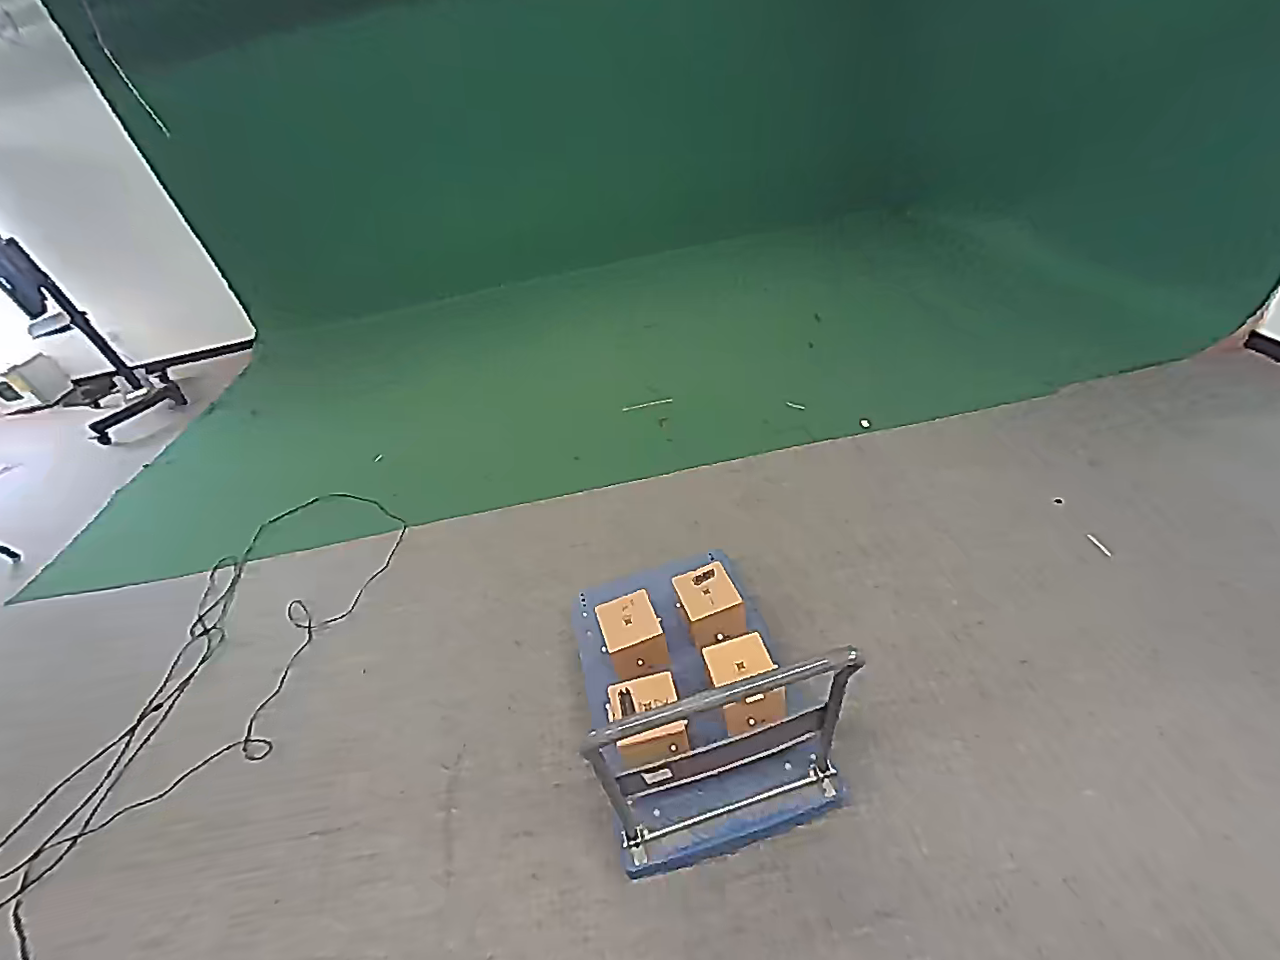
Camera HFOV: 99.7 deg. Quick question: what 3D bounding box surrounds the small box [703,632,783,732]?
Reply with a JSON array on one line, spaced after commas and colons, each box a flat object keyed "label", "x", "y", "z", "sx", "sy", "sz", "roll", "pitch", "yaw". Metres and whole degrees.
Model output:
[{"label": "small box", "x": 0.282, "y": 0.557, "z": 1.490, "sx": 0.168, "sy": 0.176, "sz": 0.179, "roll": -16, "pitch": 40, "yaw": -4}]

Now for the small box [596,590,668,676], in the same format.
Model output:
[{"label": "small box", "x": -0.021, "y": 0.477, "z": 1.662, "sx": 0.168, "sy": 0.176, "sz": 0.179, "roll": -18, "pitch": 40, "yaw": -8}]

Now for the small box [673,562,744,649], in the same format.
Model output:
[{"label": "small box", "x": 0.214, "y": 0.394, "z": 1.696, "sx": 0.168, "sy": 0.176, "sz": 0.179, "roll": -20, "pitch": 41, "yaw": -7}]
